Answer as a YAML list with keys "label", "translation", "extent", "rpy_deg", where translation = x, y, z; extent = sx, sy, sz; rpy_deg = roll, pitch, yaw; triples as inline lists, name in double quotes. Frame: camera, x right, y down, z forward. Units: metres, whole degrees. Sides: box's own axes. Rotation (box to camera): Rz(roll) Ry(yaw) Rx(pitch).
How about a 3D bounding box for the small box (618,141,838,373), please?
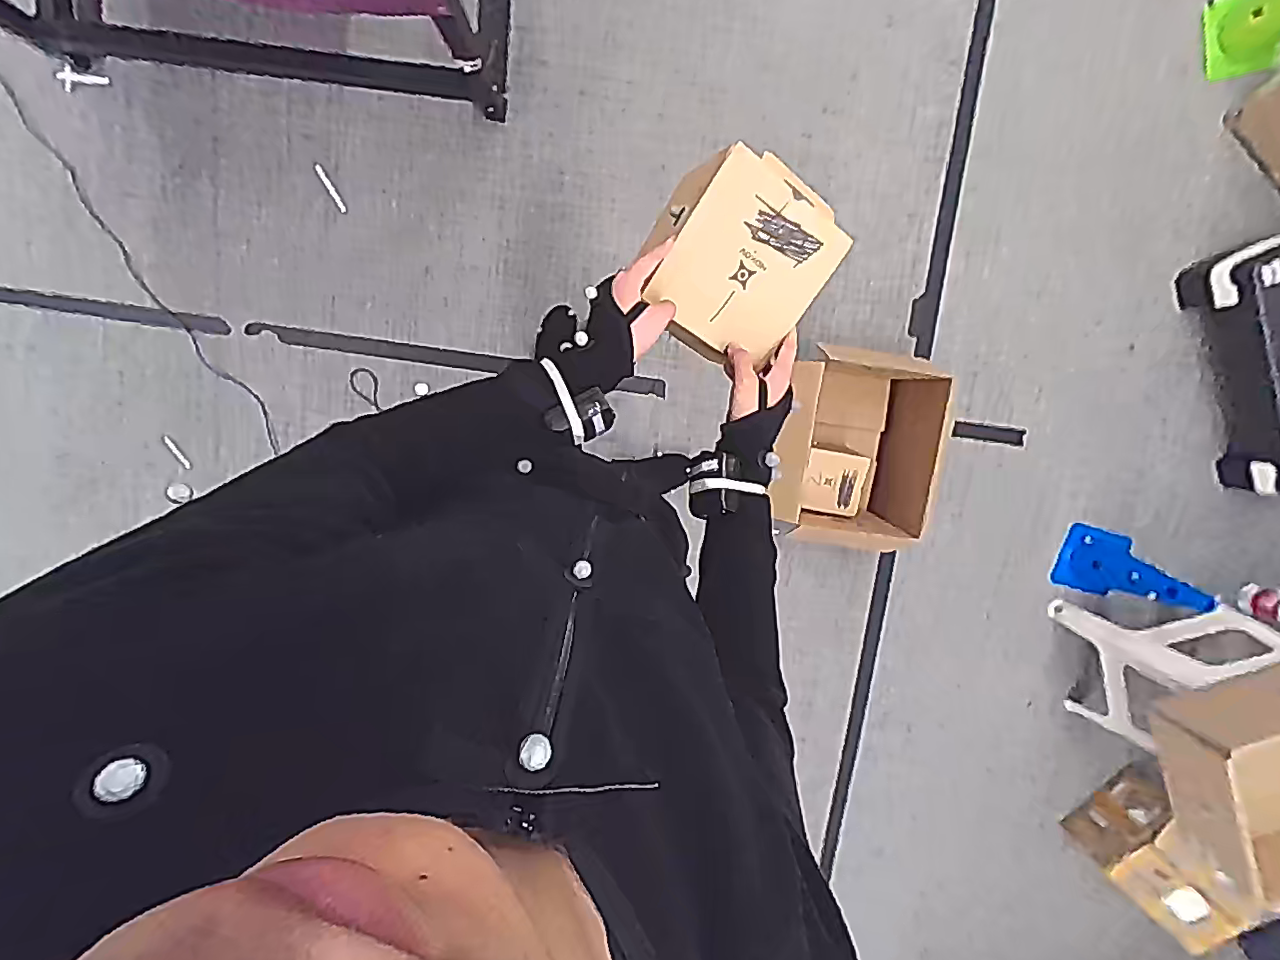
- label: "small box"
  translation: [0.089, -0.255, 0.648]
  extent: [0.168, 0.176, 0.179]
  rpy_deg: [28, 101, -20]
